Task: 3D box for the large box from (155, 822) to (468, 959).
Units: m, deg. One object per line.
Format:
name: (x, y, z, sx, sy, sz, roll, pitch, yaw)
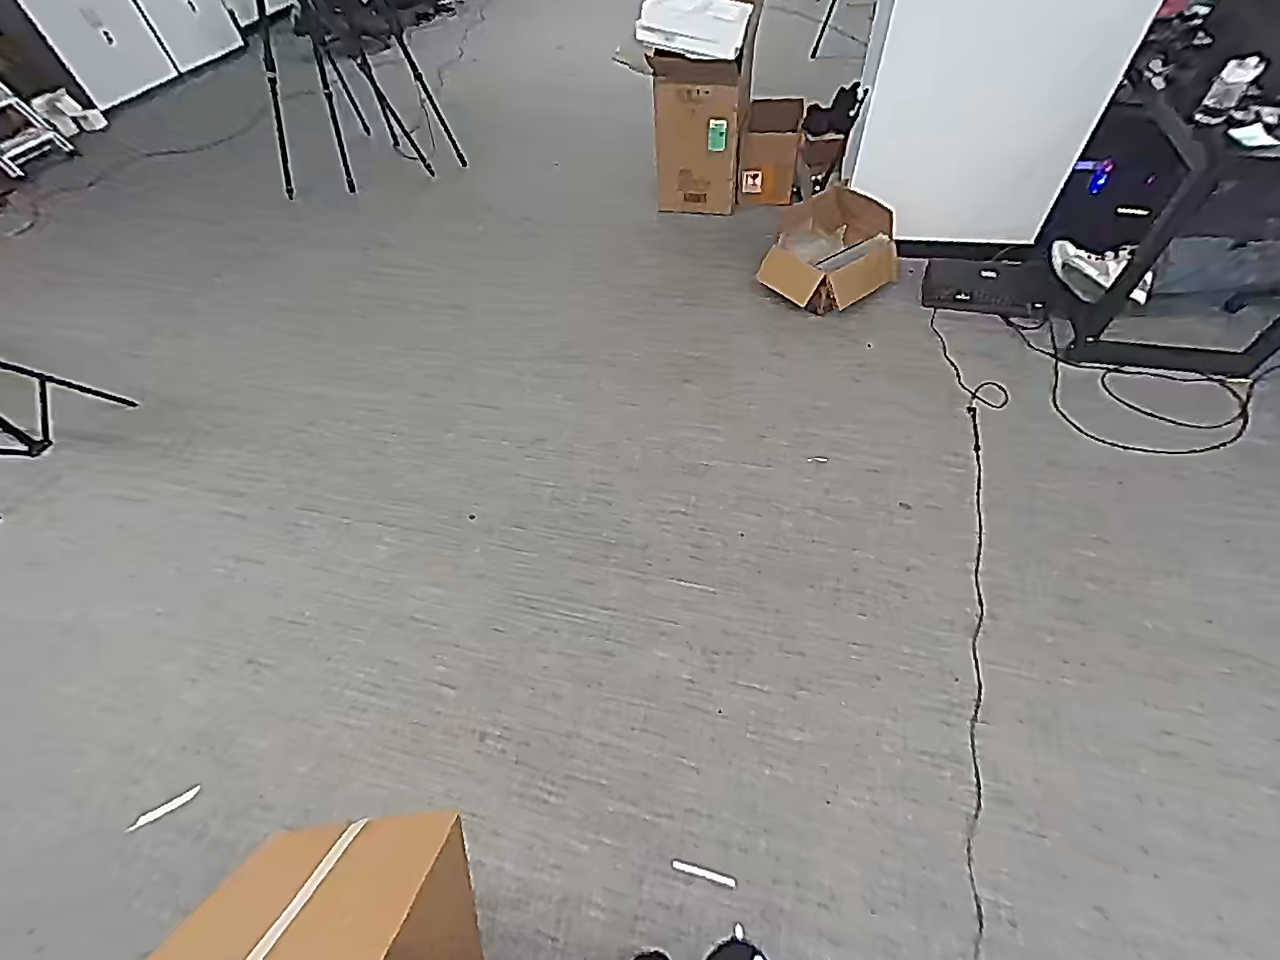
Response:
large box: (-0.429, 0.720, 0.671, 0.320, 0.408, 0.320, -8, 94, 0)
